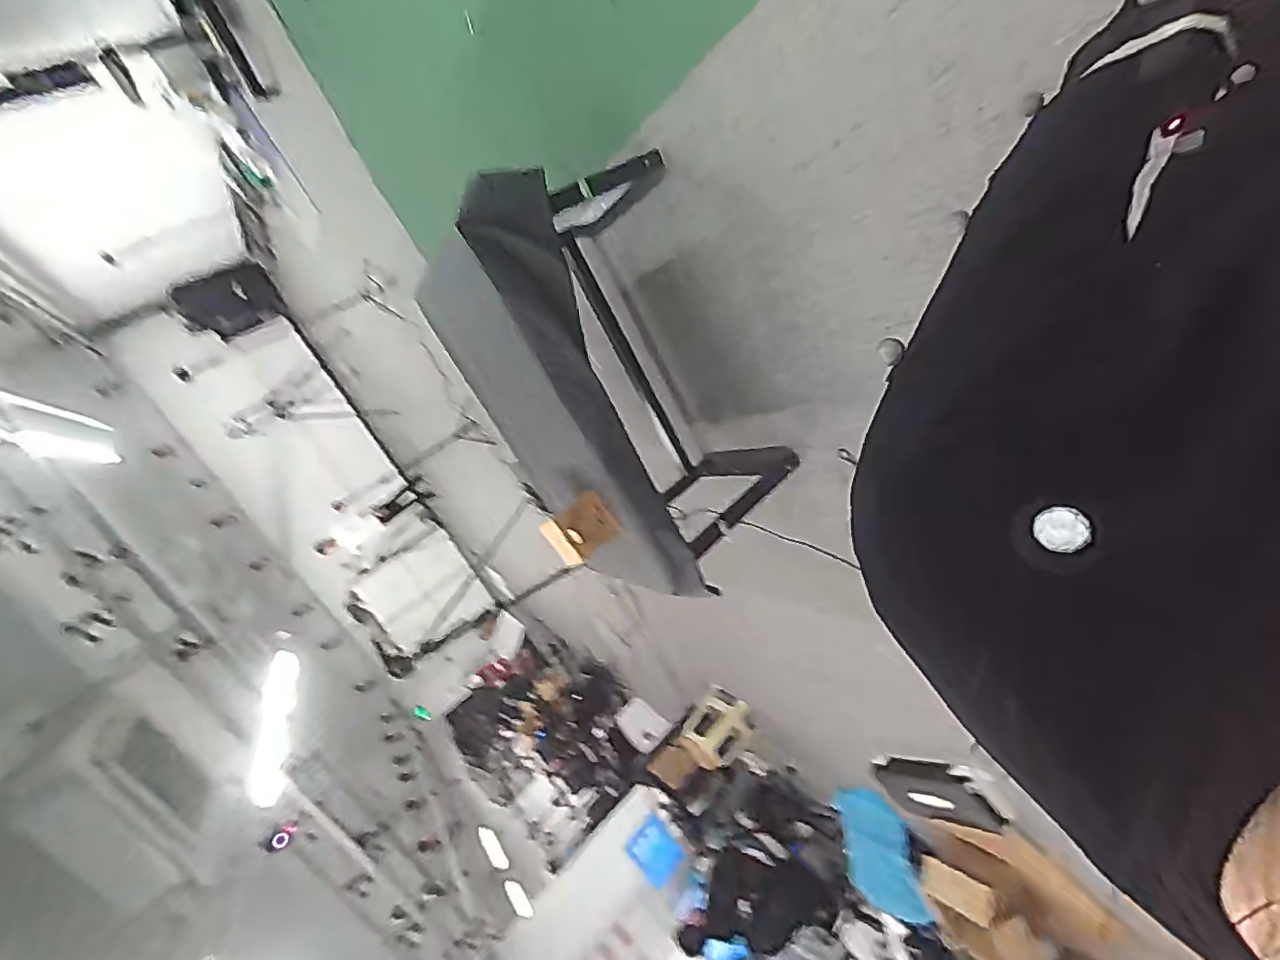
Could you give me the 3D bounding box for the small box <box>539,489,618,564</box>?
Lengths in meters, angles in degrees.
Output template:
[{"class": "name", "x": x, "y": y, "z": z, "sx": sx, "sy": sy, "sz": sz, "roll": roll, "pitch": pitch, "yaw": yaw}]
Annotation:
[{"class": "small box", "x": -0.195, "y": 0.150, "z": 1.729, "sx": 0.168, "sy": 0.176, "sz": 0.179, "roll": 55, "pitch": 154, "yaw": -3}]
